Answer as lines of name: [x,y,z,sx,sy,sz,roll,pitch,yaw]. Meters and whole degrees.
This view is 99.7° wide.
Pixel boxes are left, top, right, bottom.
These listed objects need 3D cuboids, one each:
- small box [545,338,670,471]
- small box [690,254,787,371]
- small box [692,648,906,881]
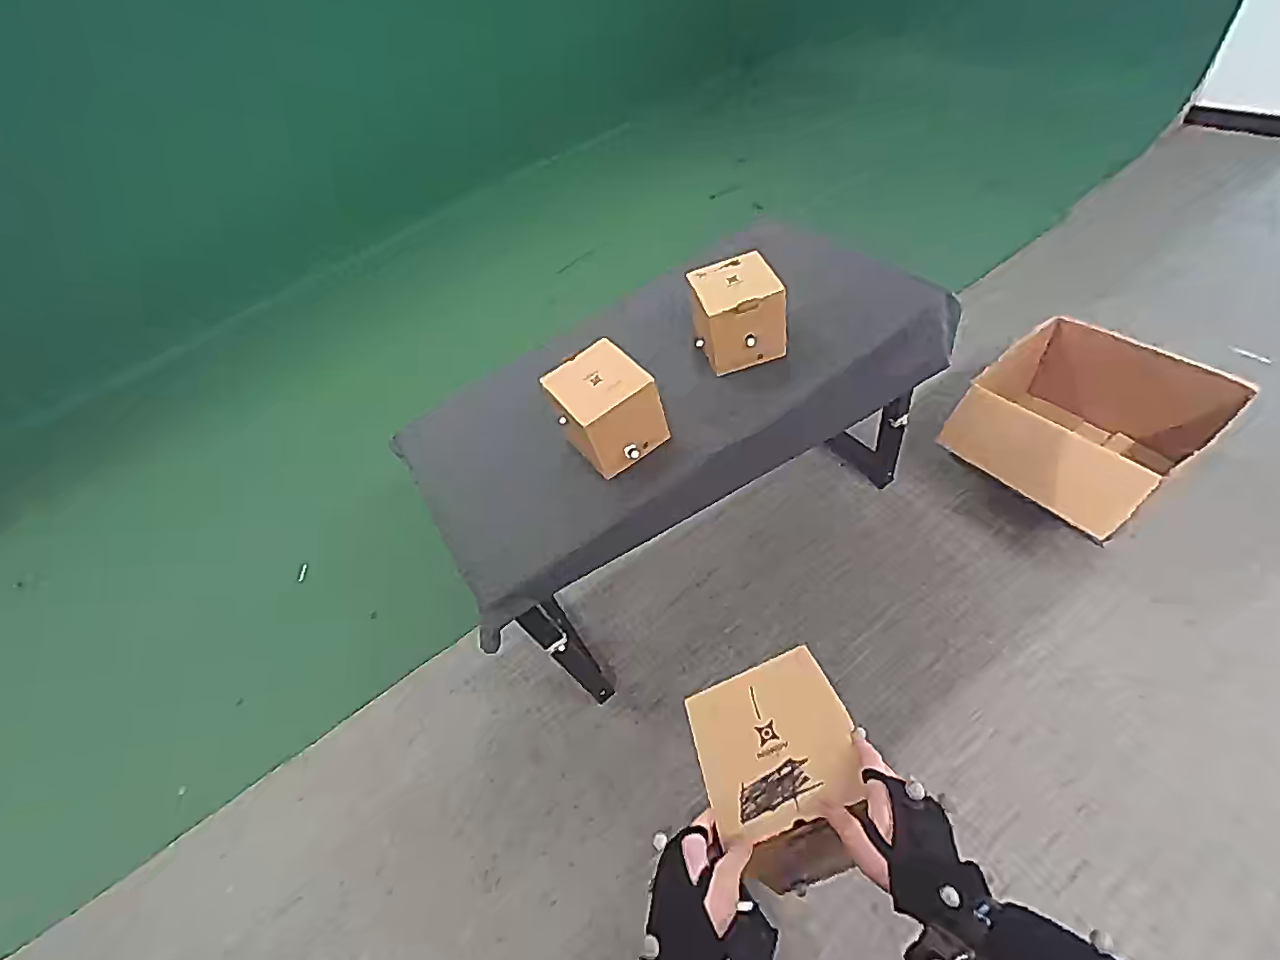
small box: [-0.062,-0.151,1.098,0.168,0.176,0.179,-36,53,-13]
small box: [0.222,-0.365,1.207,0.168,0.176,0.179,-17,51,2]
small box: [0.185,0.341,0.638,0.168,0.176,0.179,-28,35,9]
